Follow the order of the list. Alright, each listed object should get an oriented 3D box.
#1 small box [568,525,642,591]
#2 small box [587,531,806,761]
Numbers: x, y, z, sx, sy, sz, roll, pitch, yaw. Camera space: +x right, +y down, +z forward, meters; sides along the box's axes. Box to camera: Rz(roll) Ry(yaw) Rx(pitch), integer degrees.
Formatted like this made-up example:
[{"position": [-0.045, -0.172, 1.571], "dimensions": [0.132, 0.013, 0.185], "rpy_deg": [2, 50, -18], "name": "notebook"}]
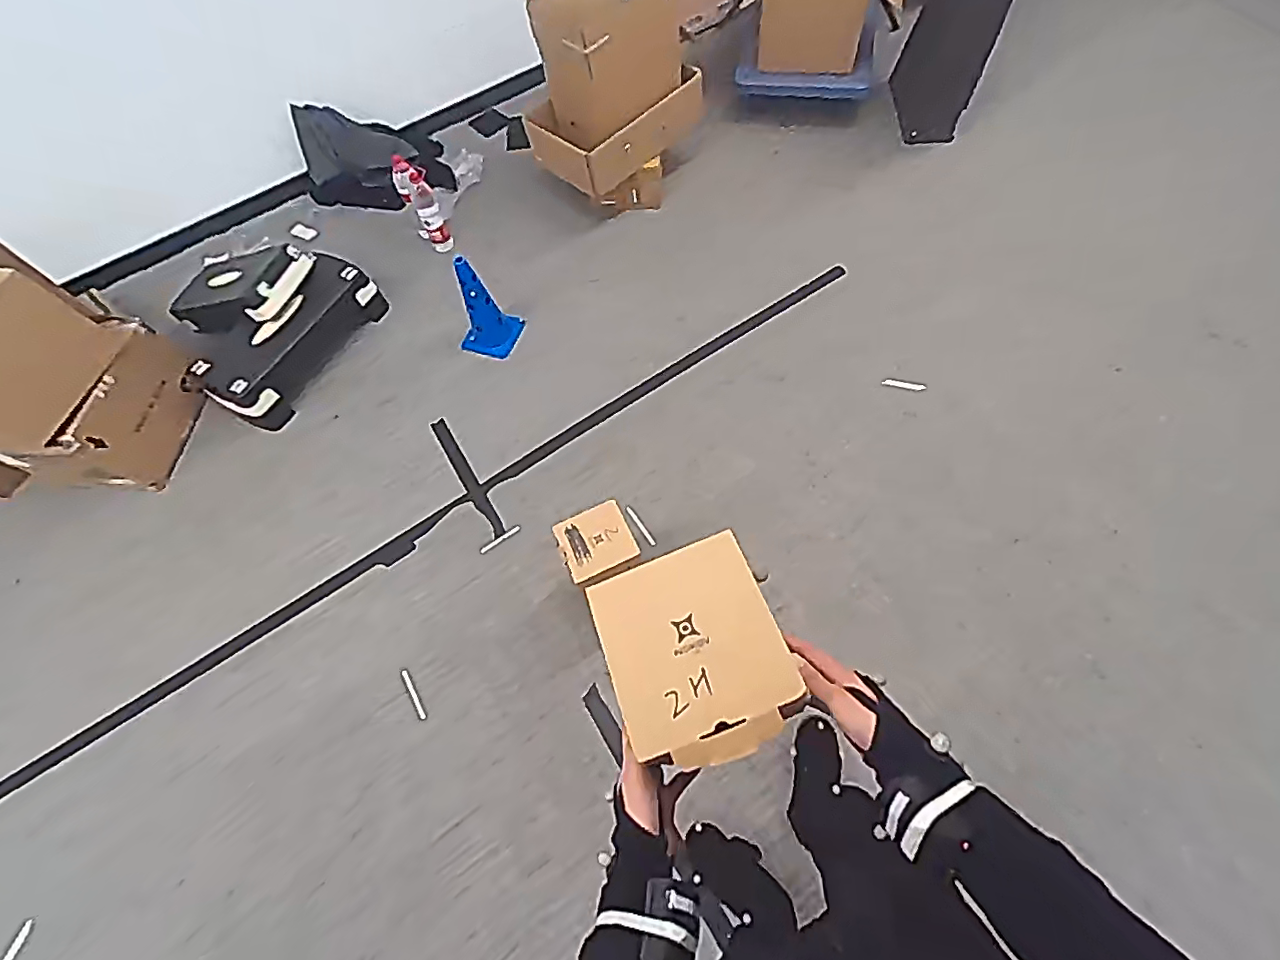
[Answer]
[{"position": [-0.080, 0.263, 1.543], "dimensions": [0.168, 0.176, 0.179], "rpy_deg": [-29, 64, -9], "name": "small box"}, {"position": [0.062, 0.187, 0.586], "dimensions": [0.168, 0.176, 0.179], "rpy_deg": [-23, 60, 2], "name": "small box"}]
